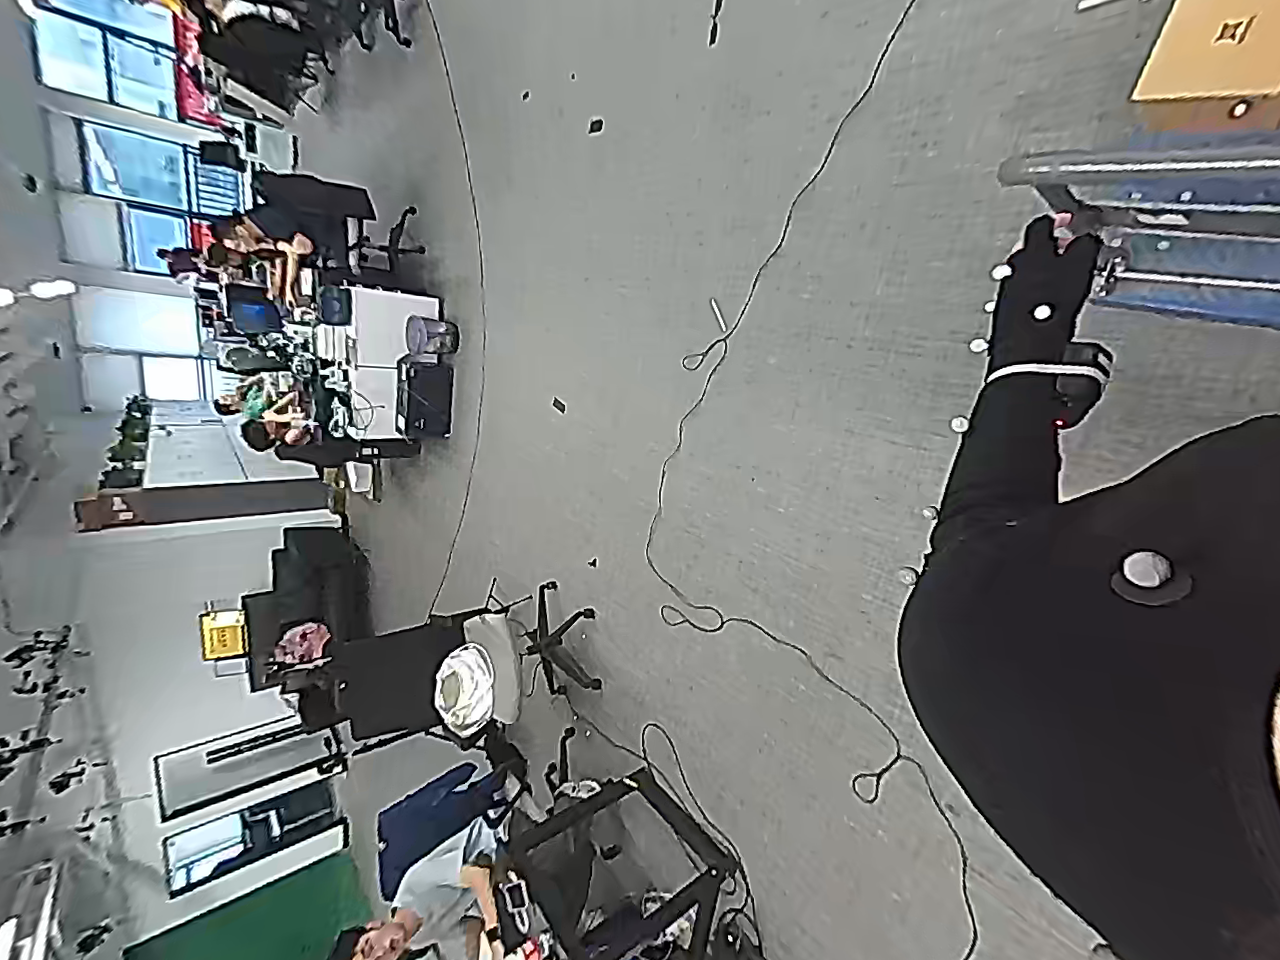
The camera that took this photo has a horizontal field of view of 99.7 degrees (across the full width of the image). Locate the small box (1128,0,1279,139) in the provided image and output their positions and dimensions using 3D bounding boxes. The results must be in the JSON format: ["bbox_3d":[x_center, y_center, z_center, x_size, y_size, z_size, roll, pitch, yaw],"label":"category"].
[{"bbox_3d":[0.914,-0.648,0.837,0.179,0.176,0.168,32,117,41],"label":"small box"}]
